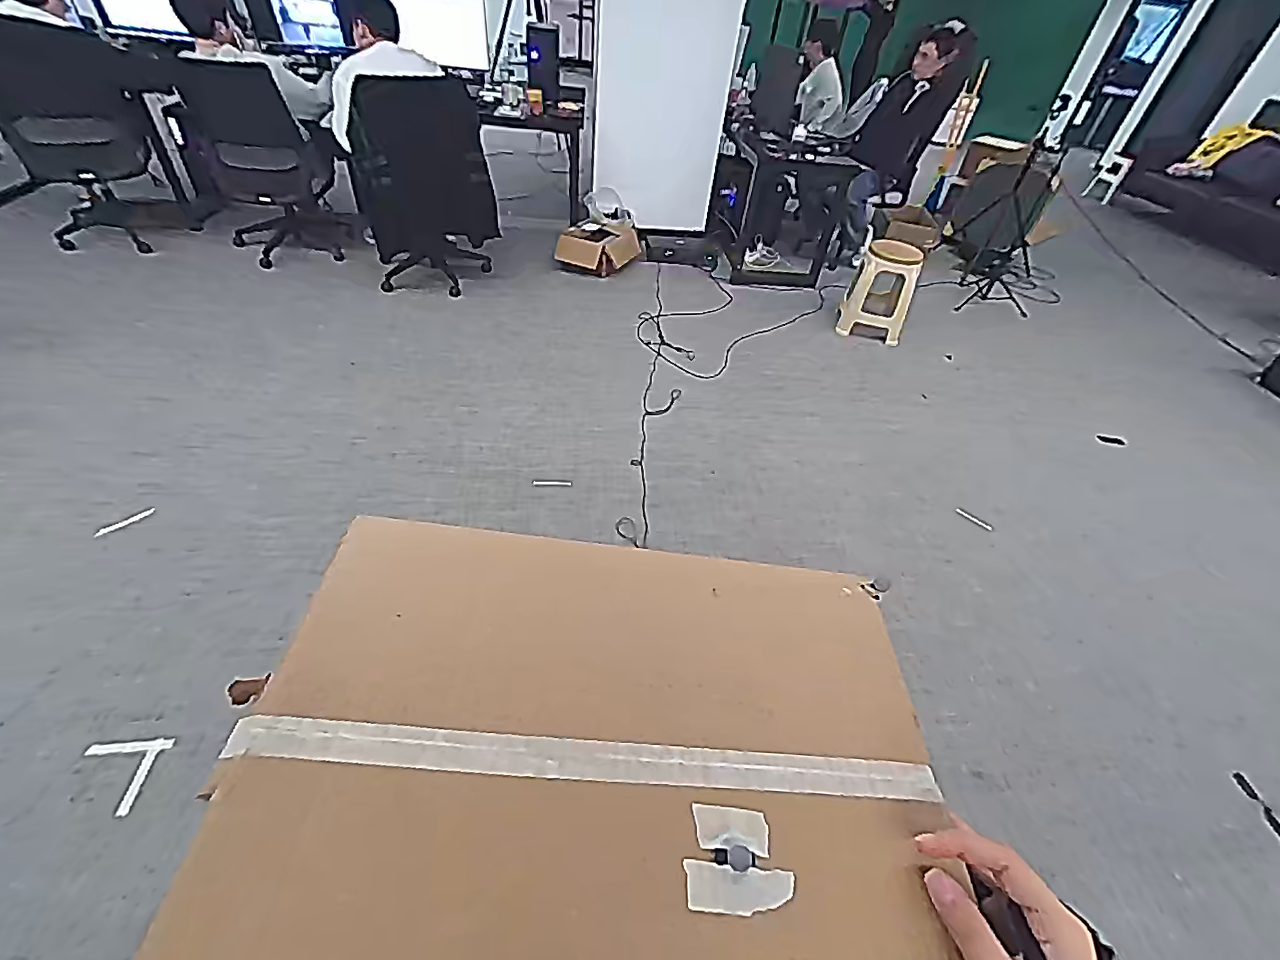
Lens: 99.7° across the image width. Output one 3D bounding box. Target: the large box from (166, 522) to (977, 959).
[{"bbox_3d":[-0.041,0.268,0.434,0.408,0.320,0.320,9,47,-7],"label":"large box"}]
